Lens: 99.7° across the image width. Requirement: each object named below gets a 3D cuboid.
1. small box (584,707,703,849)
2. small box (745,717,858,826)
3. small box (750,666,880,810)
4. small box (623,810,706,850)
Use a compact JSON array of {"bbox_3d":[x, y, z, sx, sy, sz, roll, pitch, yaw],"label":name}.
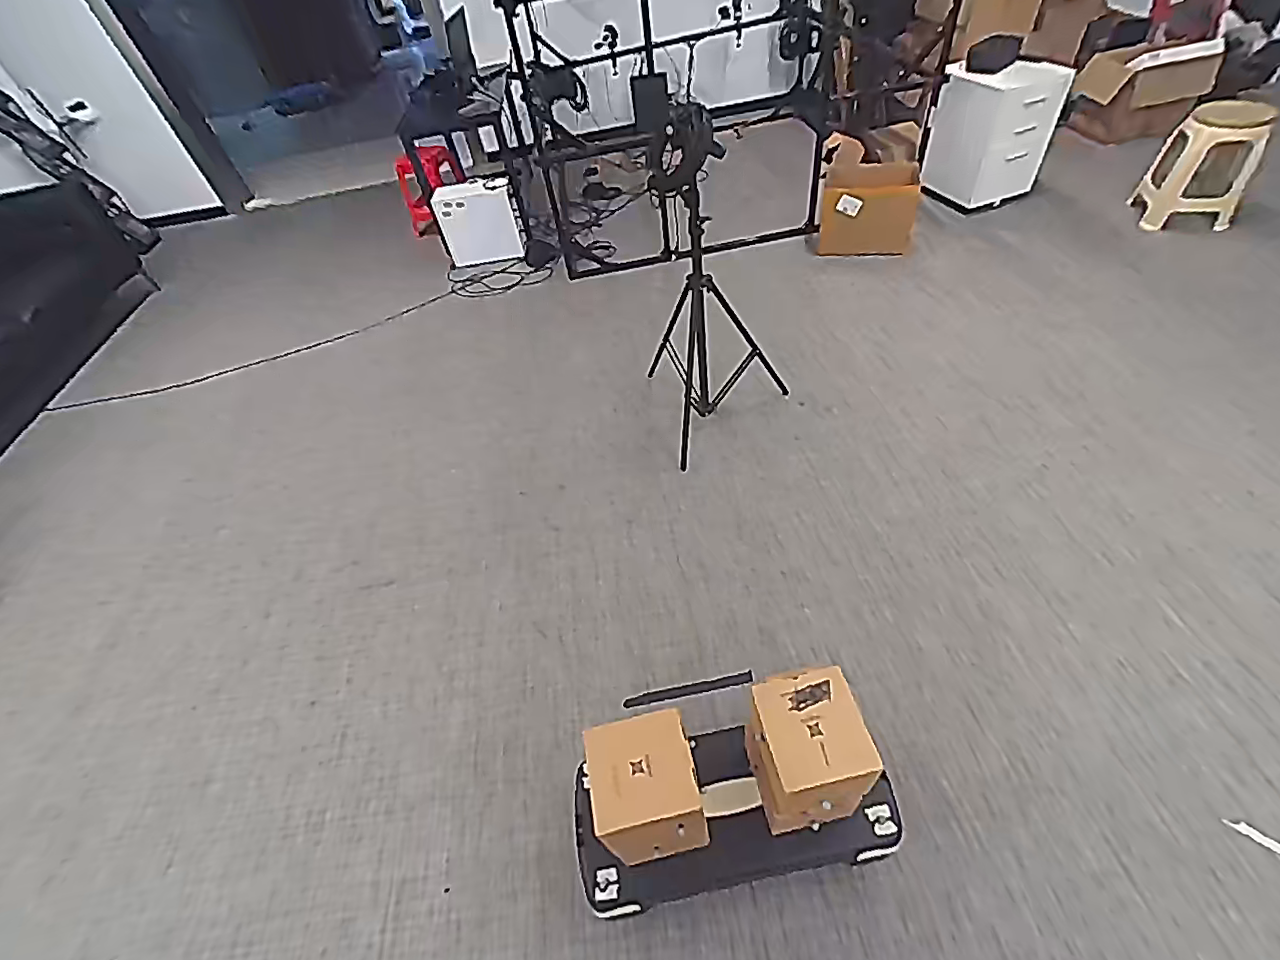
[{"bbox_3d":[0.008,0.533,0.966,0.179,0.176,0.168,-14,47,-3],"label":"small box"},{"bbox_3d":[0.314,0.578,1.092,0.168,0.176,0.179,-13,48,-1],"label":"small box"},{"bbox_3d":[0.299,0.465,0.973,0.168,0.176,0.179,-13,48,-1],"label":"small box"},{"bbox_3d":[0.030,0.641,1.088,0.179,0.176,0.168,-14,48,-2],"label":"small box"}]
